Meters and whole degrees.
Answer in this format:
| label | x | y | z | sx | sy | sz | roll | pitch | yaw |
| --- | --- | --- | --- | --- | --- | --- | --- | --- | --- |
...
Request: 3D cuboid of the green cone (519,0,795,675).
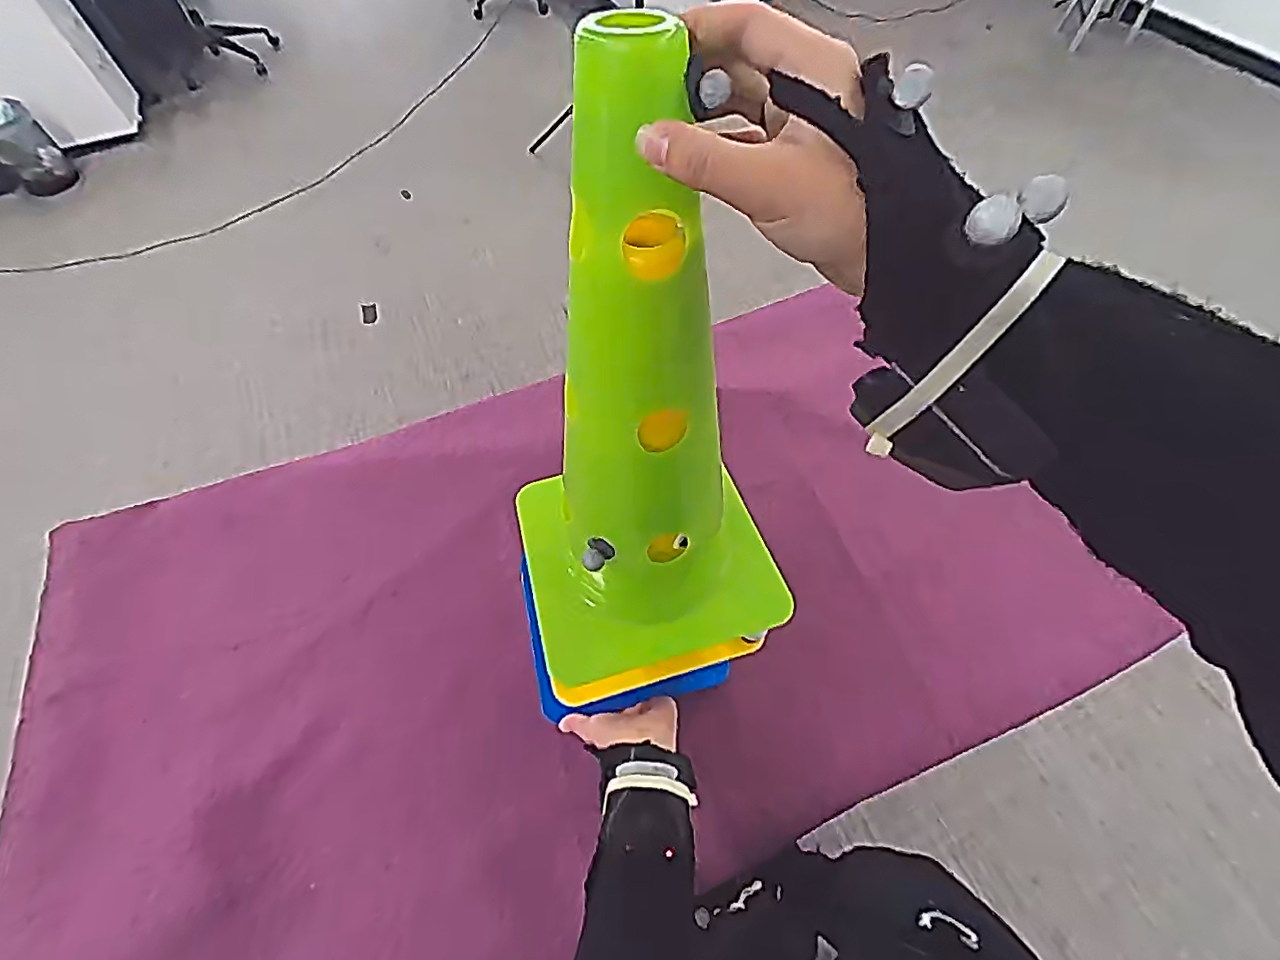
| label | x | y | z | sx | sy | sz | roll | pitch | yaw |
| --- | --- | --- | --- | --- | --- | --- | --- | --- | --- |
| green cone | 0.001 | -0.058 | 0.326 | 0.200 | 0.368 | 0.202 | -15 | 53 | -9 |
